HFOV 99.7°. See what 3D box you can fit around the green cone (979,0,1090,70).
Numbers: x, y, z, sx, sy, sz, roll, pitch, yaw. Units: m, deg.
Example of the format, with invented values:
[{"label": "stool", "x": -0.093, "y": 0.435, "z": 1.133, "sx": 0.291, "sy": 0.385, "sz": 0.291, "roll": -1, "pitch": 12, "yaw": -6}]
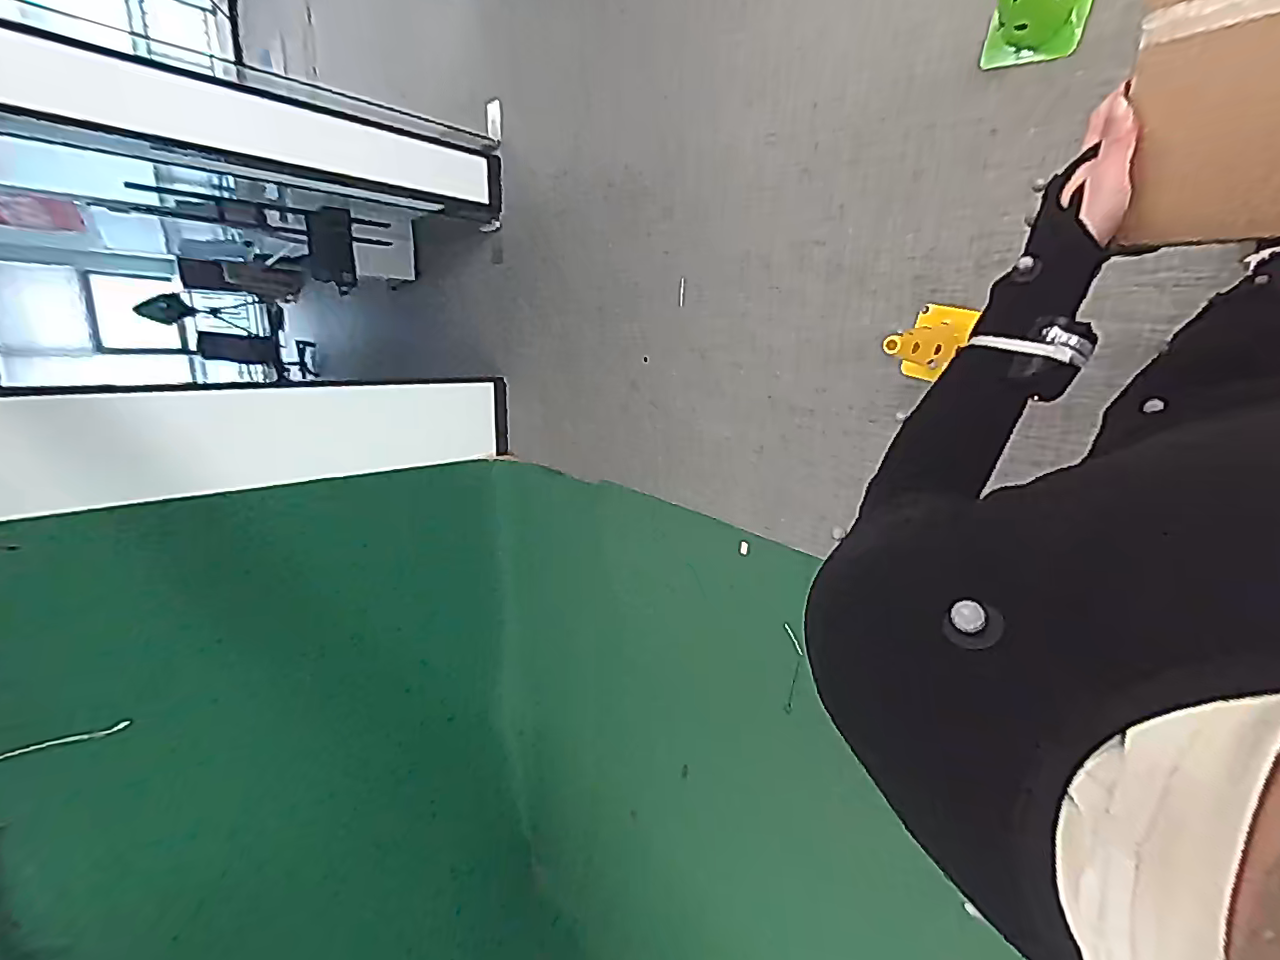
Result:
[{"label": "green cone", "x": 0.785, "y": -1.047, "z": 1.130, "sx": 0.200, "sy": 0.368, "sz": 0.202, "roll": 26, "pitch": 118, "yaw": 42}]
